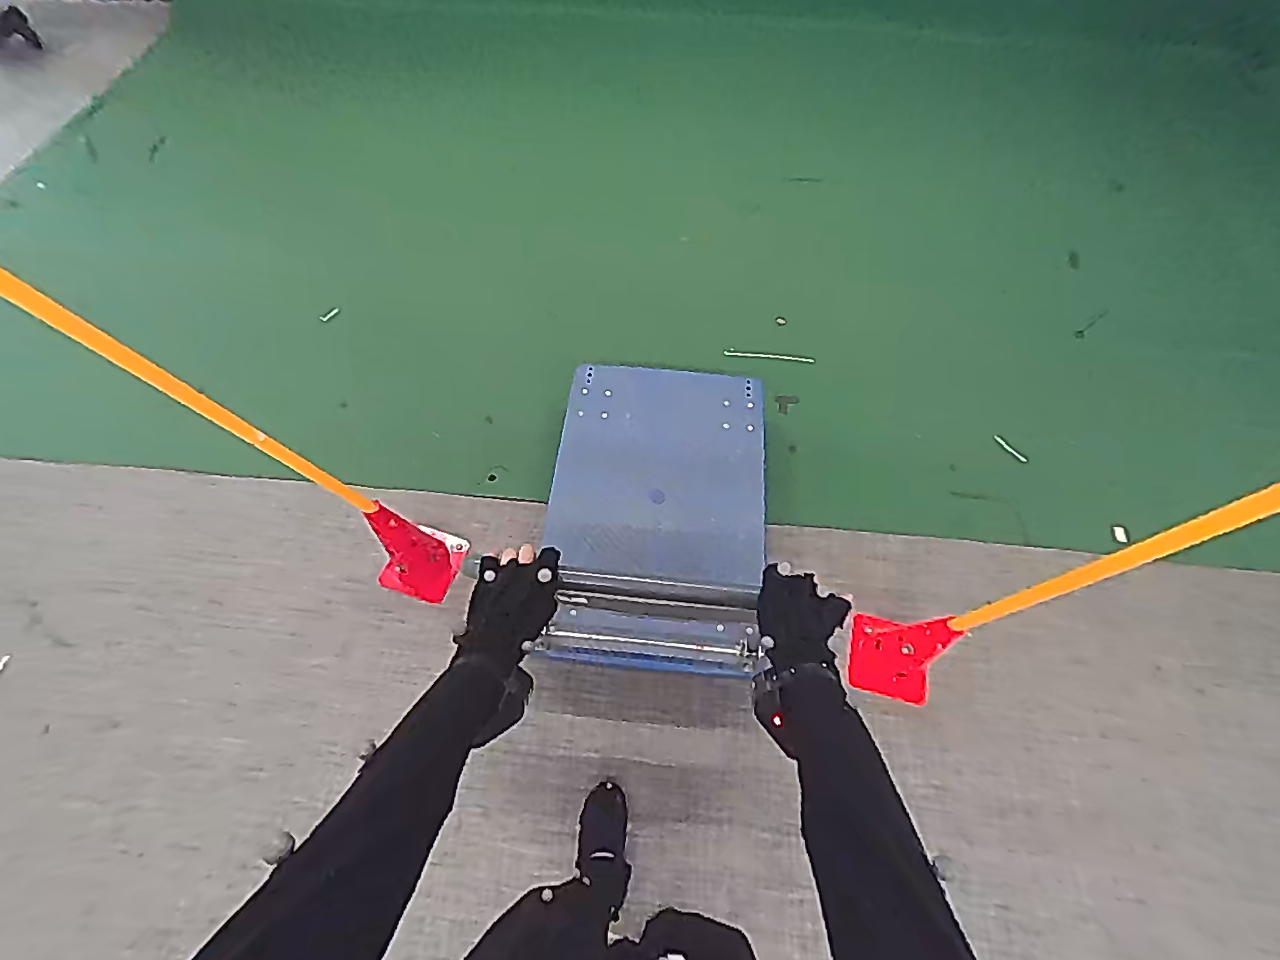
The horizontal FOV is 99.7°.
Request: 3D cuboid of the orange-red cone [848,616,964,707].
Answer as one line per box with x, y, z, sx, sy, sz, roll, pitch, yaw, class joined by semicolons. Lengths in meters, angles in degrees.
0.651;0.387;1.263;0.198;0.360;0.199;15;63;9;orange-red cone
